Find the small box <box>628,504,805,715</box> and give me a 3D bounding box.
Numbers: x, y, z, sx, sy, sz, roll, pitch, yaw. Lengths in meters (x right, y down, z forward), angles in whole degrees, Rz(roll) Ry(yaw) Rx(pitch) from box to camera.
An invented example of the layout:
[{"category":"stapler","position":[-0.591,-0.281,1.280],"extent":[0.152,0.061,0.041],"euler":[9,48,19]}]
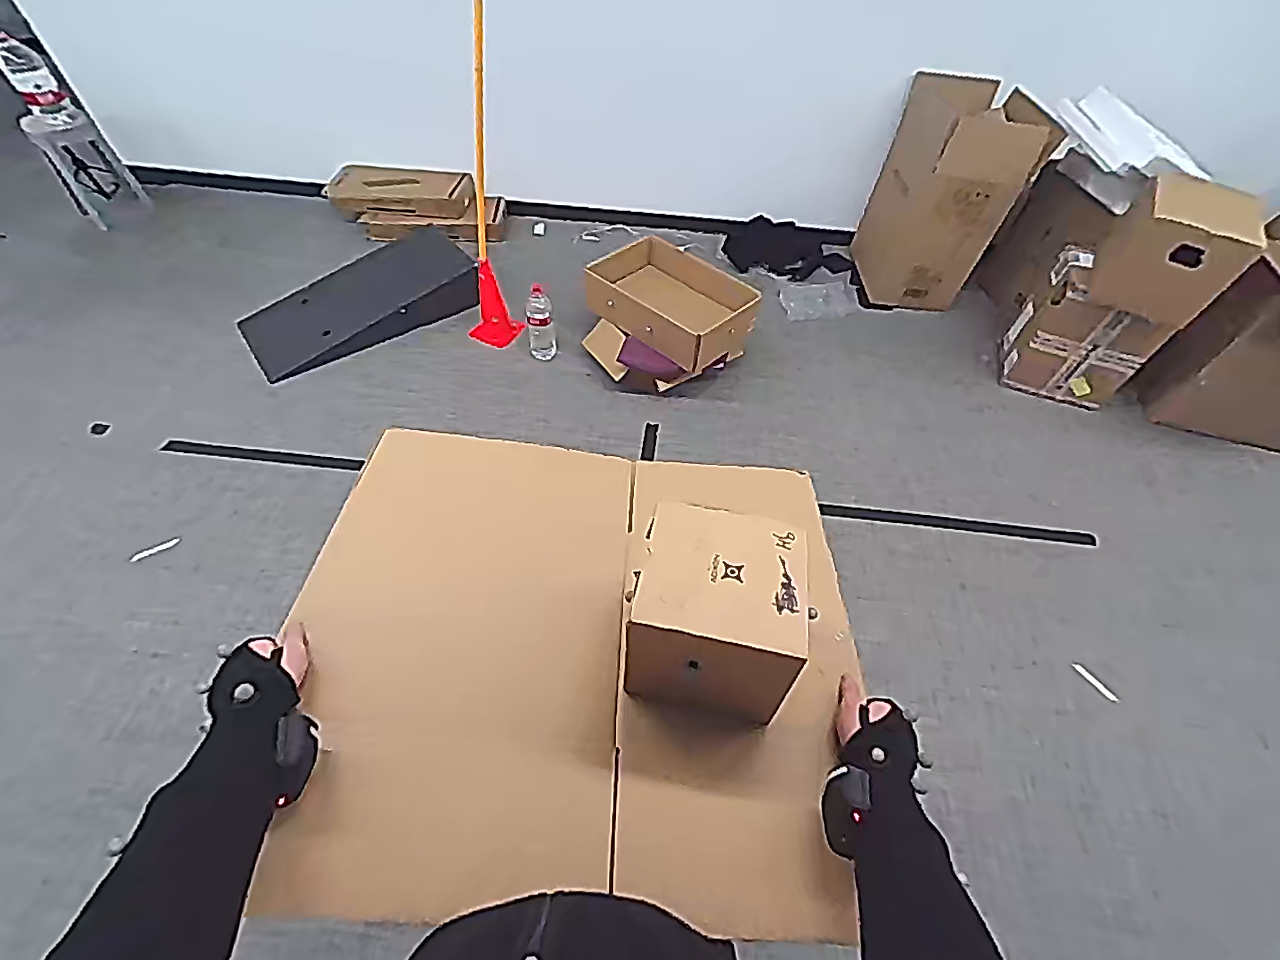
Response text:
[{"category":"small box","position":[0.087,0.154,0.635],"extent":[0.179,0.176,0.168],"euler":[9,47,7]}]
